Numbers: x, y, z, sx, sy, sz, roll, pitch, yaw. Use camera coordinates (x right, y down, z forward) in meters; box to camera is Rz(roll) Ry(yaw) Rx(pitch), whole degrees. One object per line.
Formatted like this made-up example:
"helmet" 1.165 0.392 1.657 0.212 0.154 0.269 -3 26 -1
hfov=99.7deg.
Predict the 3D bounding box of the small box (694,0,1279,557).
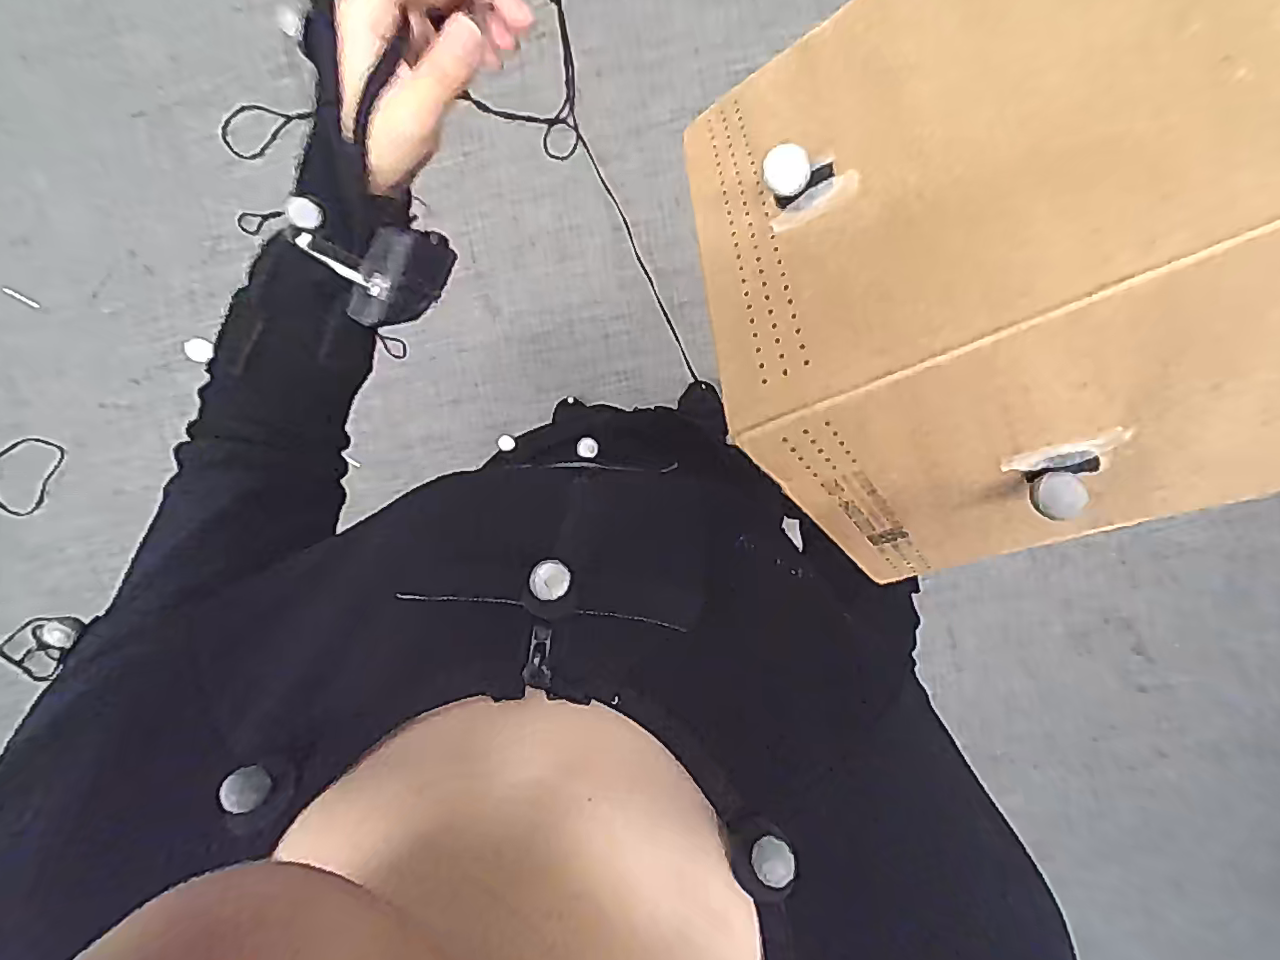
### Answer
"small box" 0.139 -0.082 0.236 0.176 0.168 0.179 -22 56 28
